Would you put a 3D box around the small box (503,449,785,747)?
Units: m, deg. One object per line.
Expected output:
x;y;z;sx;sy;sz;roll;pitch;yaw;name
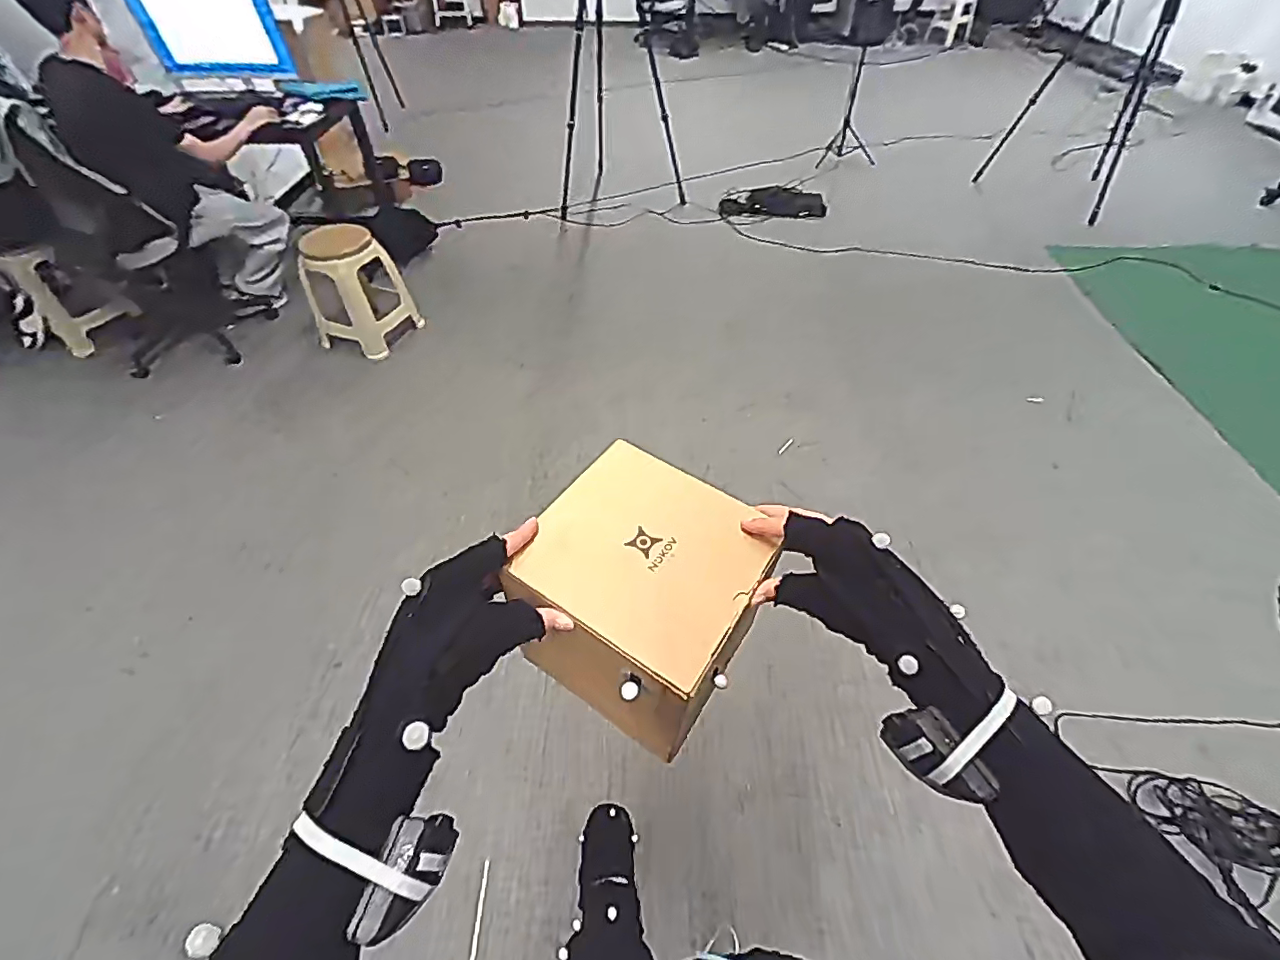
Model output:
0.000;0.110;0.496;0.179;0.176;0.168;31;53;19;small box
